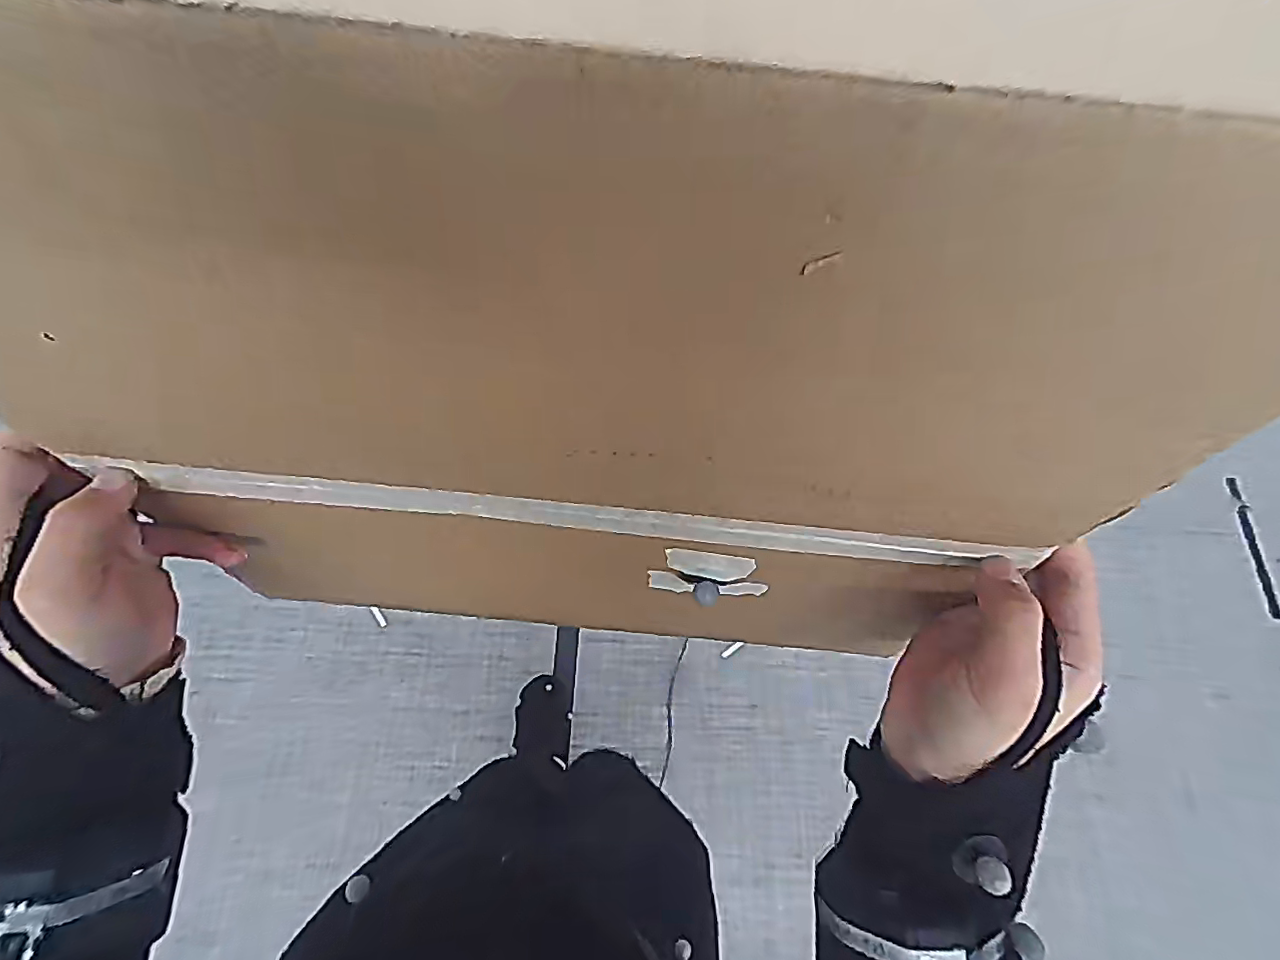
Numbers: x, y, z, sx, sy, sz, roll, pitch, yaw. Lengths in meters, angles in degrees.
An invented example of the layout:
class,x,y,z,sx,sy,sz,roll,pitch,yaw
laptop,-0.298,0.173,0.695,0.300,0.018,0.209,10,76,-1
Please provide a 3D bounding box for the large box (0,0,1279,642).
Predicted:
class,x,y,z,sx,sy,sz,roll,pitch,yaw
large box,-0.022,-0.116,0.317,0.408,0.320,0.320,5,57,-1
